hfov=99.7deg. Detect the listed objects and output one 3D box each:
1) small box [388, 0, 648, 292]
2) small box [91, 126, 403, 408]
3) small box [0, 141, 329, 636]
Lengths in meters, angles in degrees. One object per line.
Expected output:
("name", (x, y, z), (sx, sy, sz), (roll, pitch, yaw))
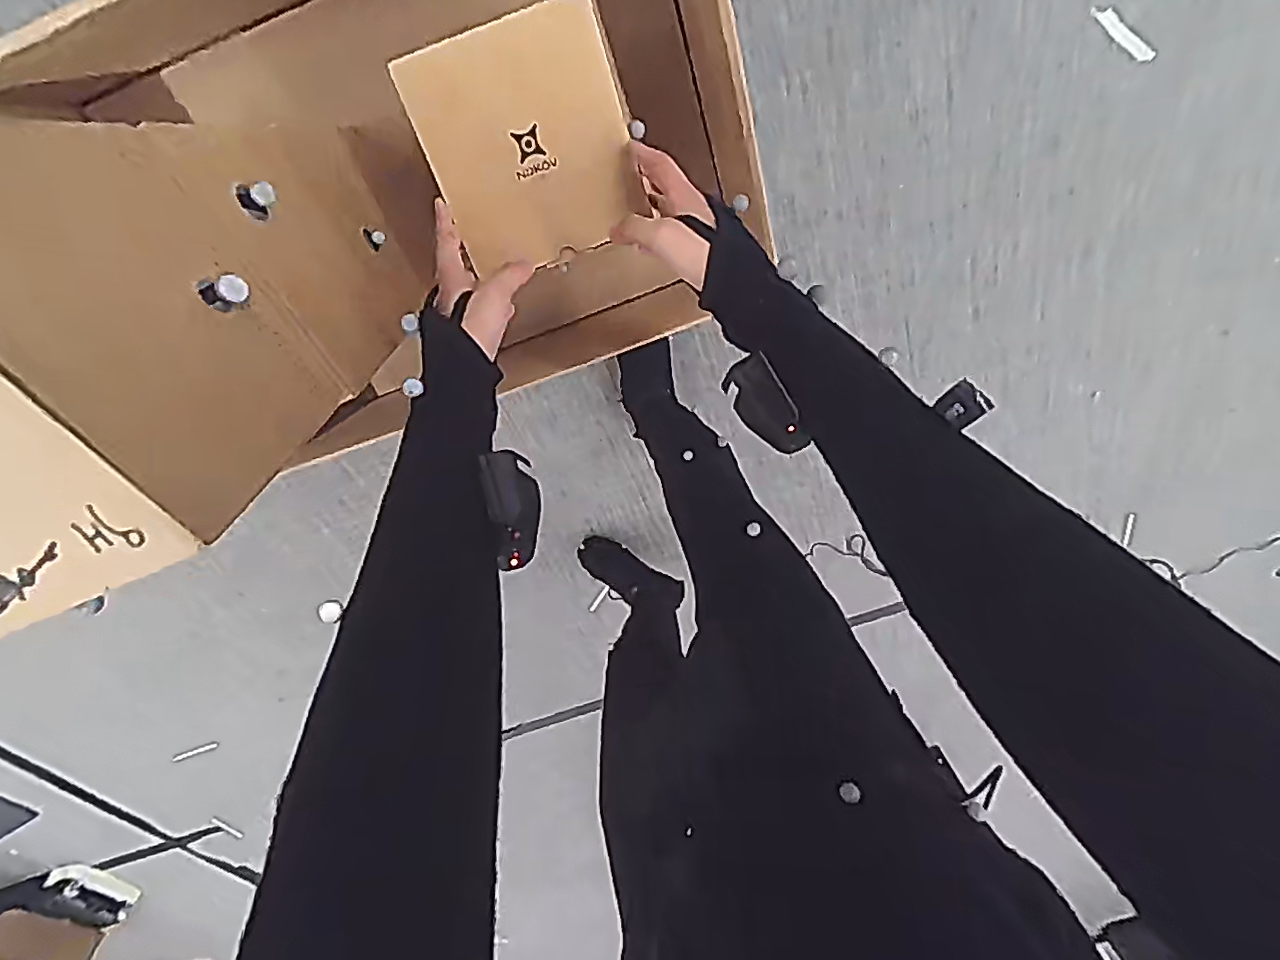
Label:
("small box", (-0.102, -0.301, 0.519), (0.168, 0.176, 0.179), (-18, 116, 4))
("small box", (-0.316, -0.137, 0.410), (0.168, 0.176, 0.179), (-21, 123, 7))
("small box", (-0.306, -0.048, 0.272), (0.168, 0.176, 0.179), (-21, 121, 7))
